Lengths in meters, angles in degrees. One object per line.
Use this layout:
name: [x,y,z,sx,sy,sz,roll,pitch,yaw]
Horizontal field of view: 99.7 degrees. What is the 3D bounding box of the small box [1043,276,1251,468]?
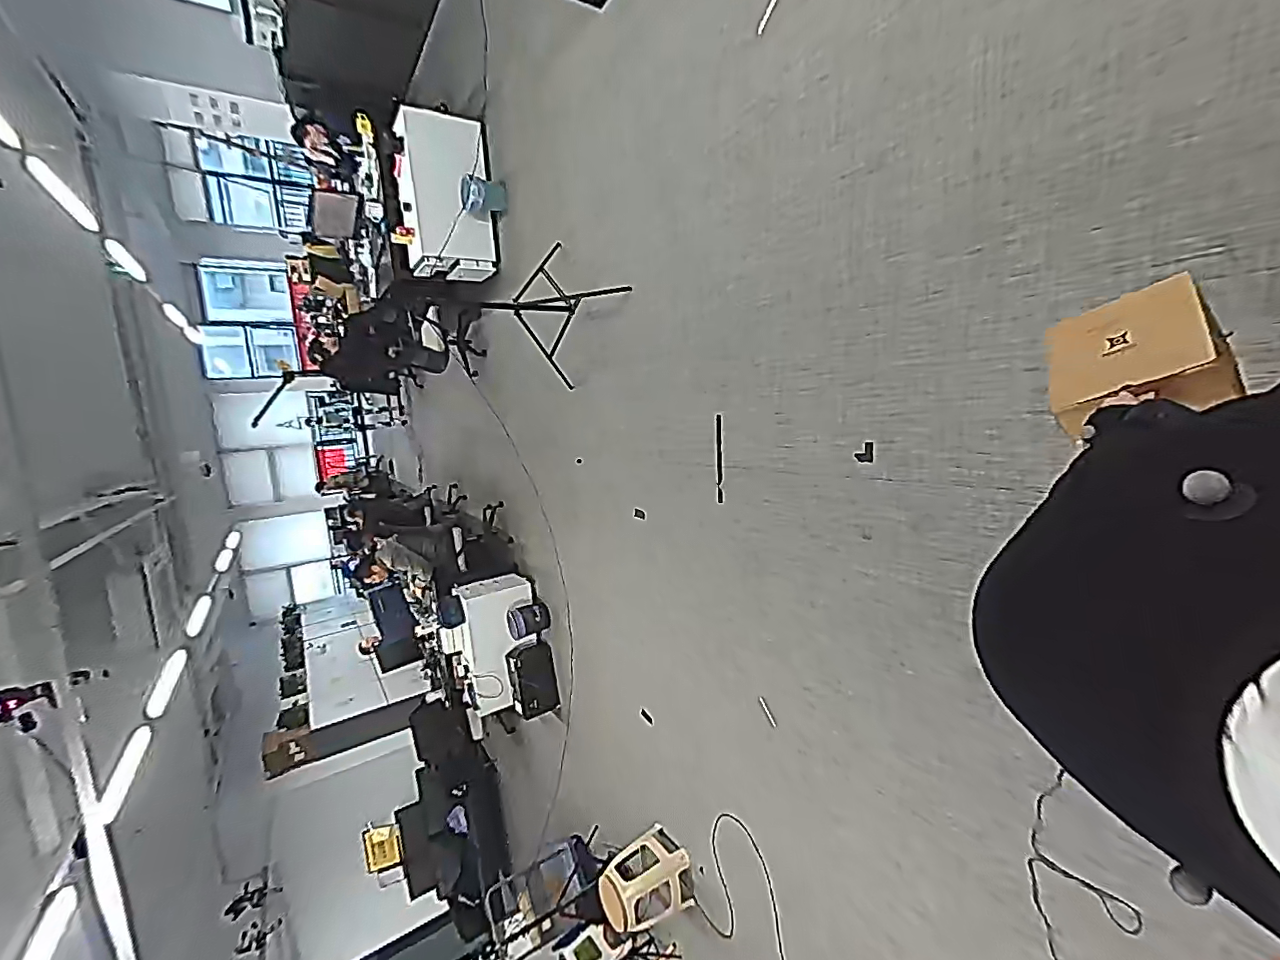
small box: [0.697,-0.136,0.755,0.168,0.176,0.179,-23,37,50]
